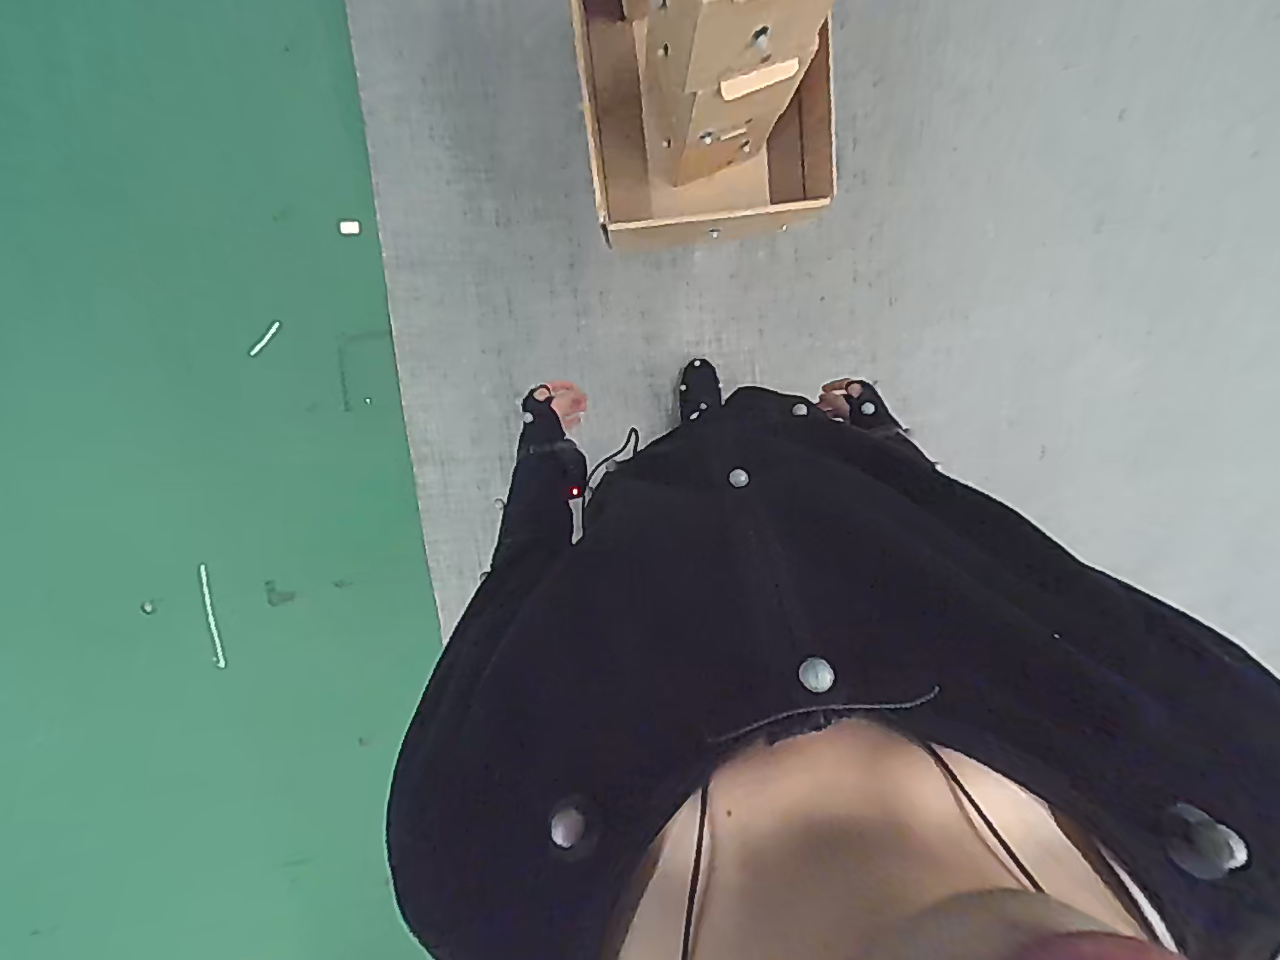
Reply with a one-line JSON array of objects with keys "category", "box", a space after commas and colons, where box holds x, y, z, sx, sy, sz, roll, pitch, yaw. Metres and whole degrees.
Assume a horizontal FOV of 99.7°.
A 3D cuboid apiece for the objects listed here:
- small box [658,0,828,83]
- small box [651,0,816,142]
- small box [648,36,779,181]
[{"category": "small box", "box": [0.109, -0.575, 0.588, 0.168, 0.176, 0.179, -17, 100, 1]}, {"category": "small box", "box": [0.119, -0.605, 0.750, 0.168, 0.176, 0.179, -19, 98, 2]}, {"category": "small box", "box": [0.117, -0.634, 0.911, 0.168, 0.176, 0.179, -19, 98, 3]}]
